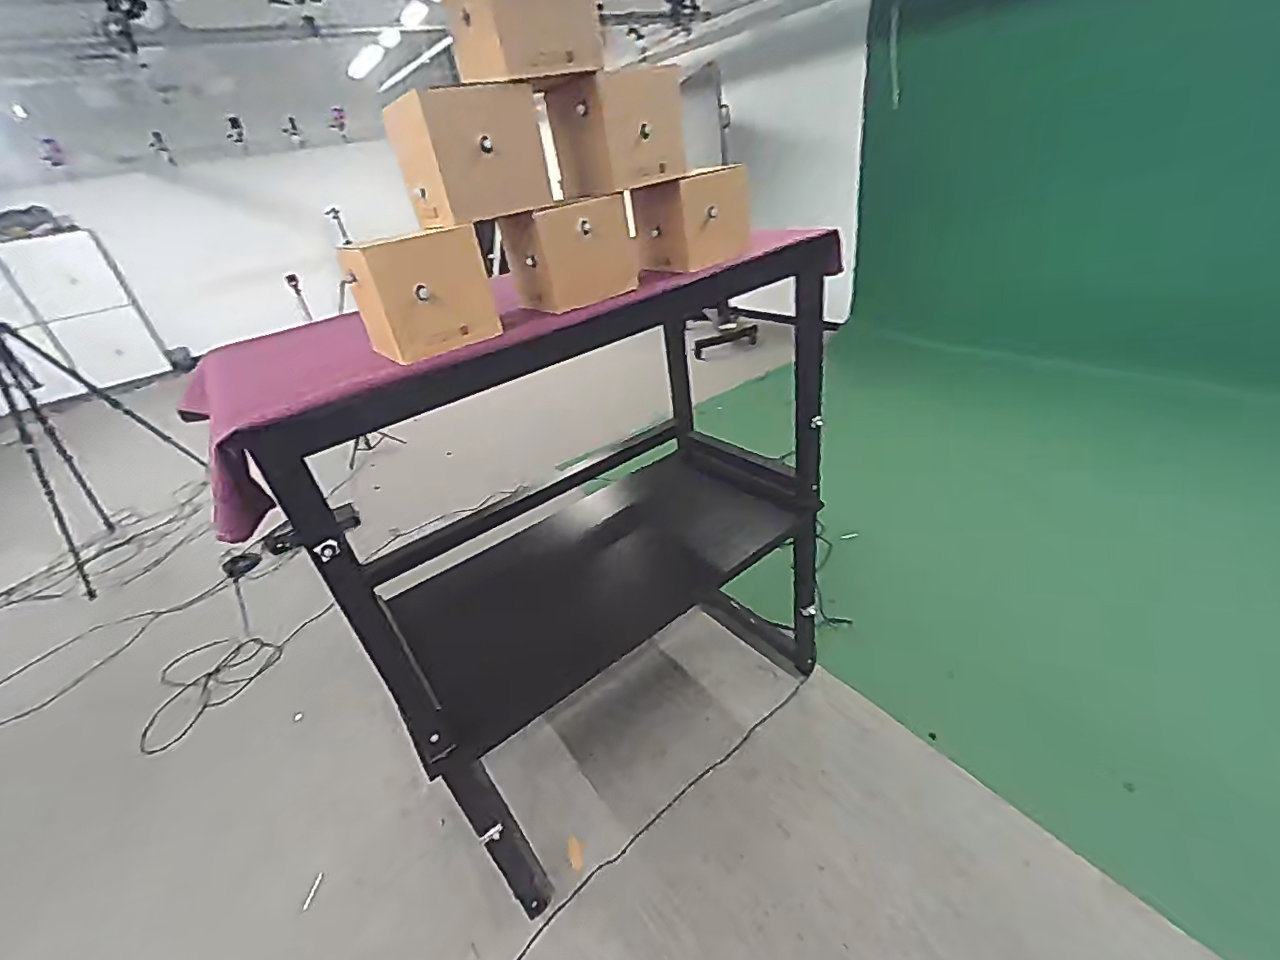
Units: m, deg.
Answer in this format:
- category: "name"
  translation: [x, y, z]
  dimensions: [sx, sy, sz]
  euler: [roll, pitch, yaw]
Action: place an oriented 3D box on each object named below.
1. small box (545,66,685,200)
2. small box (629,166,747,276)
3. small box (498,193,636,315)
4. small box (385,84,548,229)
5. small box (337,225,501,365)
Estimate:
- category: "small box"
  translation: [-0.039, -0.605, 0.959]
  dimensions: [0.168, 0.176, 0.179]
  euler: [-29, 35, -27]
- category: "small box"
  translation: [0.105, -0.527, 1.108]
  dimensions: [0.179, 0.176, 0.168]
  euler: [-29, 37, -26]
- category: "small box"
  translation: [-0.127, -0.407, 0.979]
  dimensions: [0.179, 0.176, 0.168]
  euler: [-27, 34, -27]
- category: "small box"
  translation: [-0.260, -0.494, 0.841]
  dimensions: [0.179, 0.176, 0.168]
  euler: [-29, 35, -28]
- category: "small box"
  translation: [-0.342, -0.292, 0.852]
  dimensions: [0.168, 0.176, 0.179]
  euler: [-28, 34, -28]
